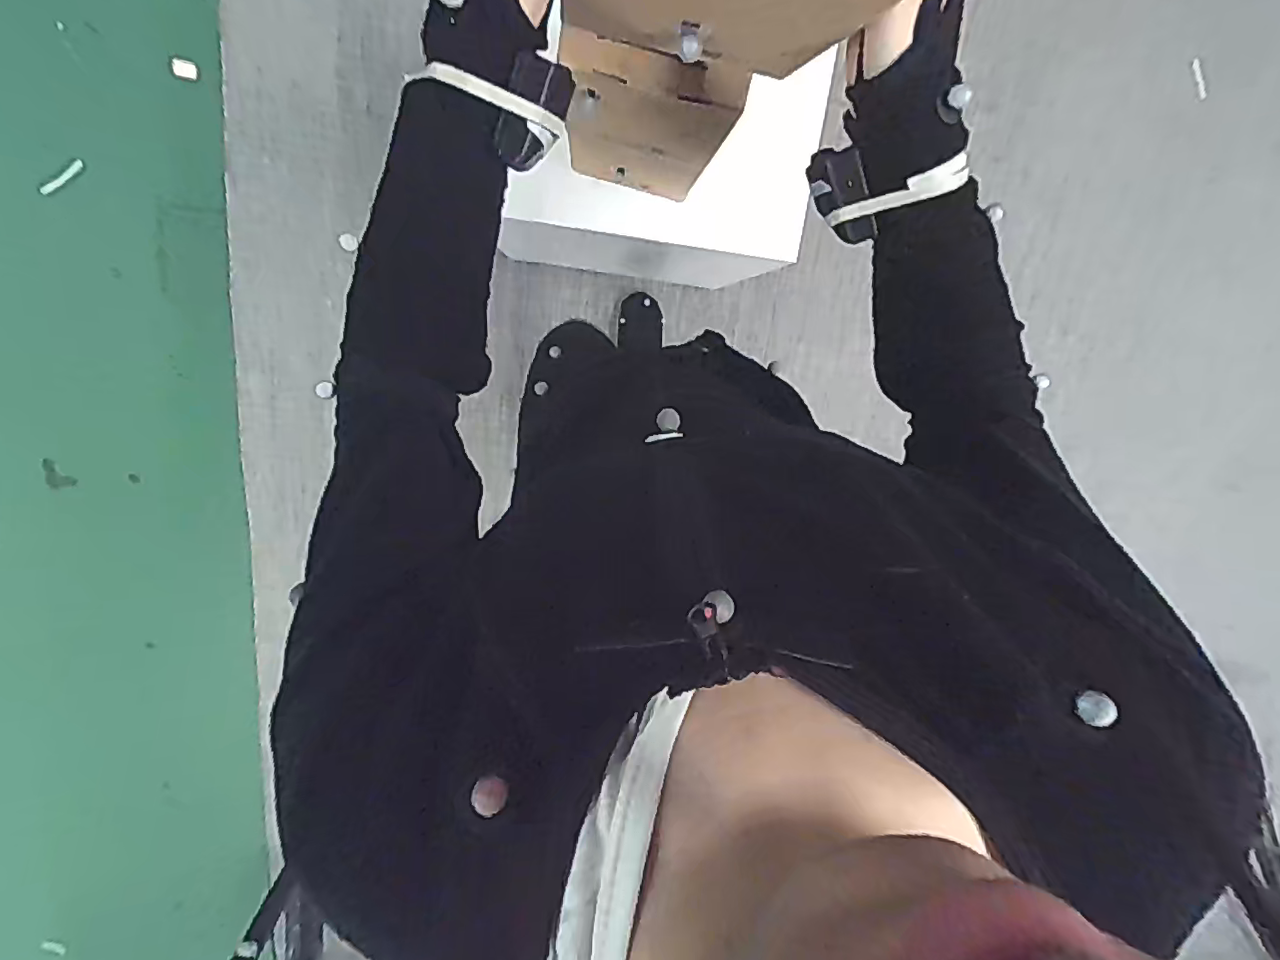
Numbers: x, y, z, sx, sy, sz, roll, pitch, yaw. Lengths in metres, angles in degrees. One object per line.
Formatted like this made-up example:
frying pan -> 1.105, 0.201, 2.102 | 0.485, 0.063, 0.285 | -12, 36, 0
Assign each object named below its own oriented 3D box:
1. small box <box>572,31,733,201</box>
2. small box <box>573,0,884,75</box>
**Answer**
small box -> 0.013, -0.475, 0.668 | 0.168, 0.176, 0.179 | 12, 104, -8
small box -> 0.052, -0.351, 0.278 | 0.168, 0.176, 0.179 | 6, 112, -10
